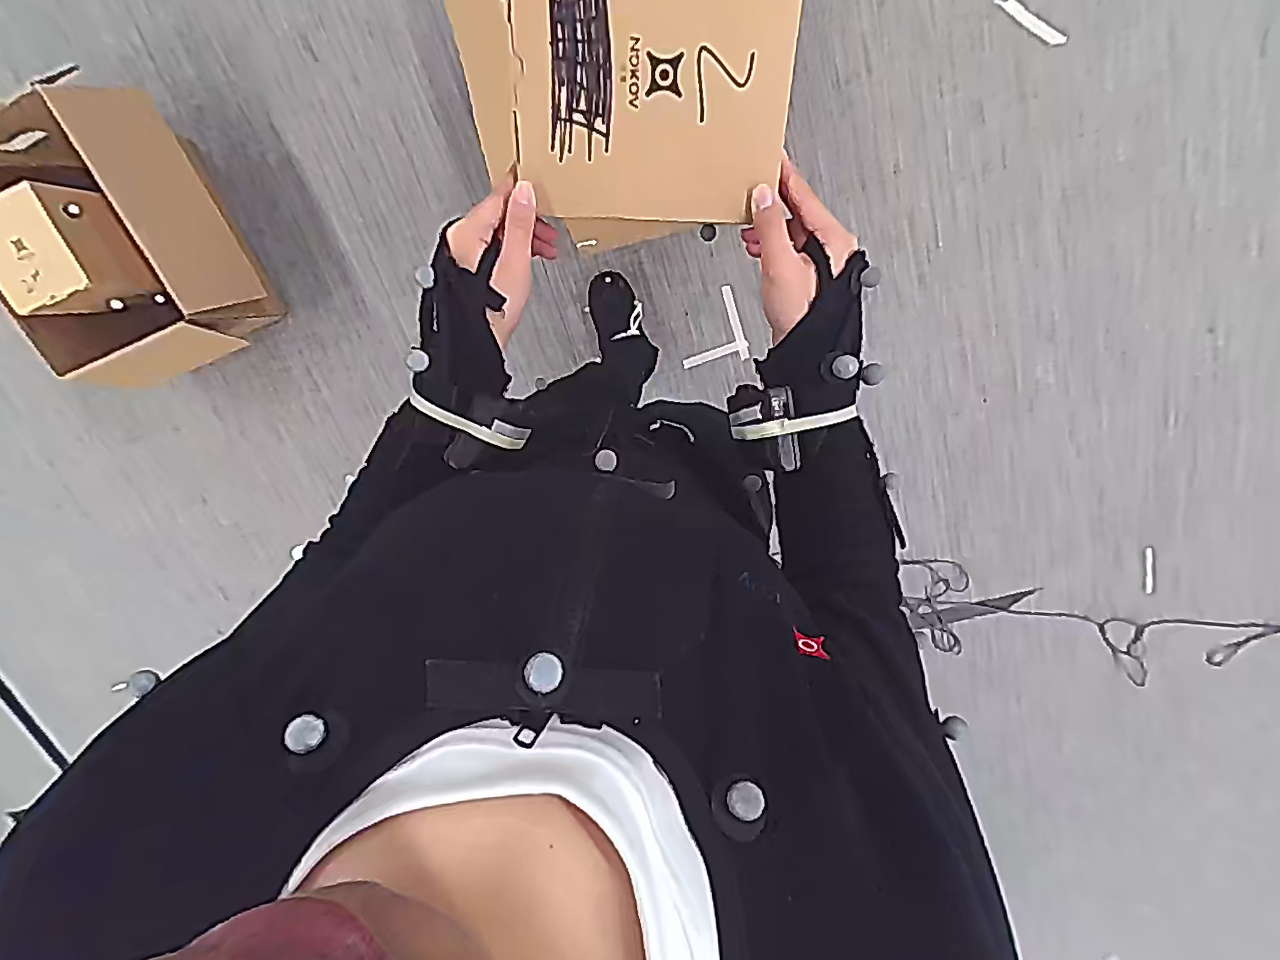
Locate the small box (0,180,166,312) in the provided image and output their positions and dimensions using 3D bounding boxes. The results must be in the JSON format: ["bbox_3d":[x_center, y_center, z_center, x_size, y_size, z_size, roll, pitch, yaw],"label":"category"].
[{"bbox_3d":[-1.061,-0.424,1.007,0.168,0.176,0.179,-17,107,8],"label":"small box"}]
